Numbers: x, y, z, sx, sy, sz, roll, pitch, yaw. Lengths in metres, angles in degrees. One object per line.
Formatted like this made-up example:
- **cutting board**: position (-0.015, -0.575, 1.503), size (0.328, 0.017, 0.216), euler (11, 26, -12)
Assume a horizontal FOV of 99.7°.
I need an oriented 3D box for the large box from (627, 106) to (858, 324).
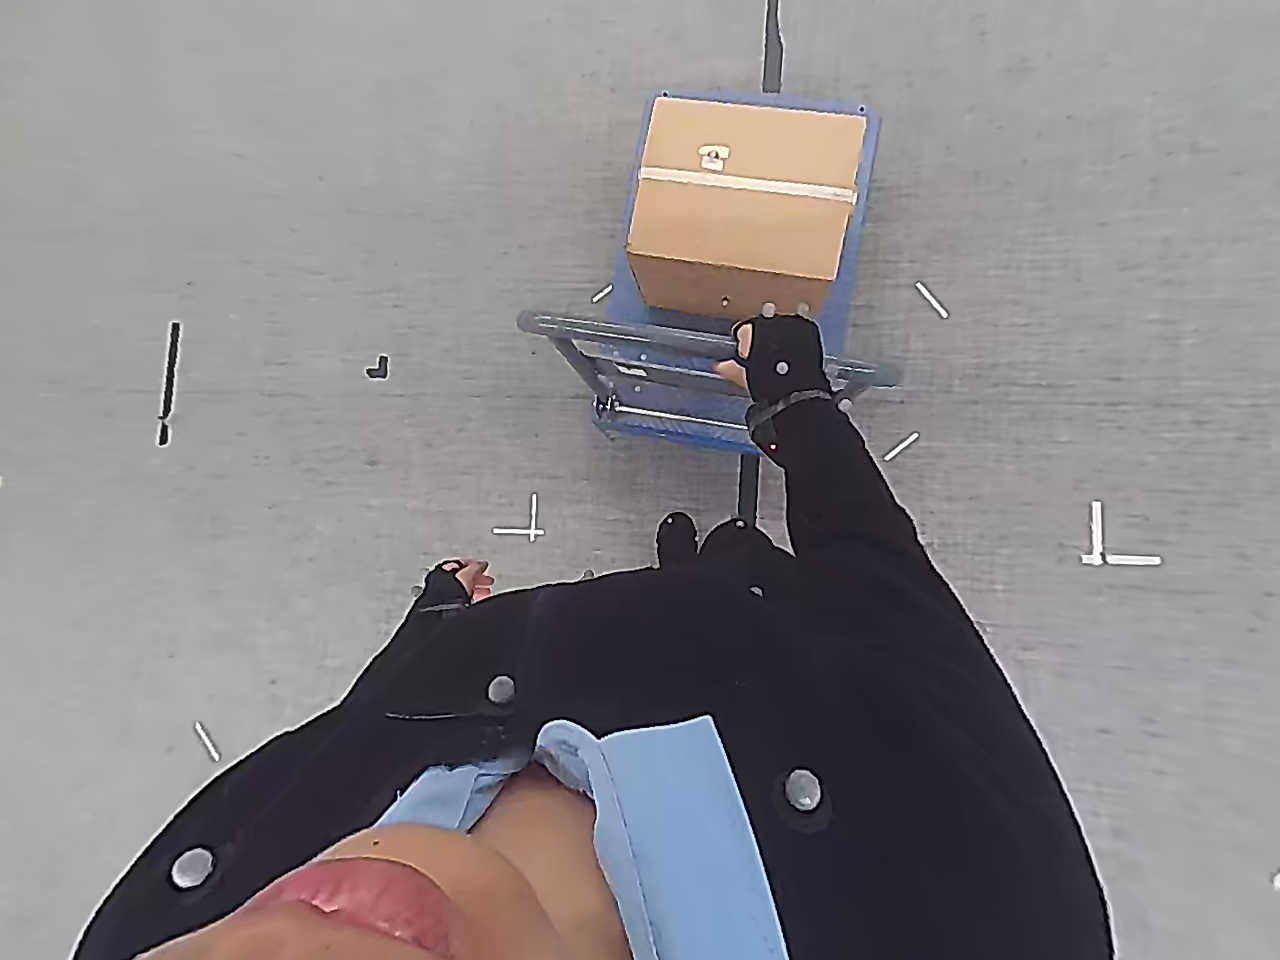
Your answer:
- **large box**: position (0.217, -0.559, 1.191), size (0.408, 0.320, 0.320), euler (11, 89, 9)
